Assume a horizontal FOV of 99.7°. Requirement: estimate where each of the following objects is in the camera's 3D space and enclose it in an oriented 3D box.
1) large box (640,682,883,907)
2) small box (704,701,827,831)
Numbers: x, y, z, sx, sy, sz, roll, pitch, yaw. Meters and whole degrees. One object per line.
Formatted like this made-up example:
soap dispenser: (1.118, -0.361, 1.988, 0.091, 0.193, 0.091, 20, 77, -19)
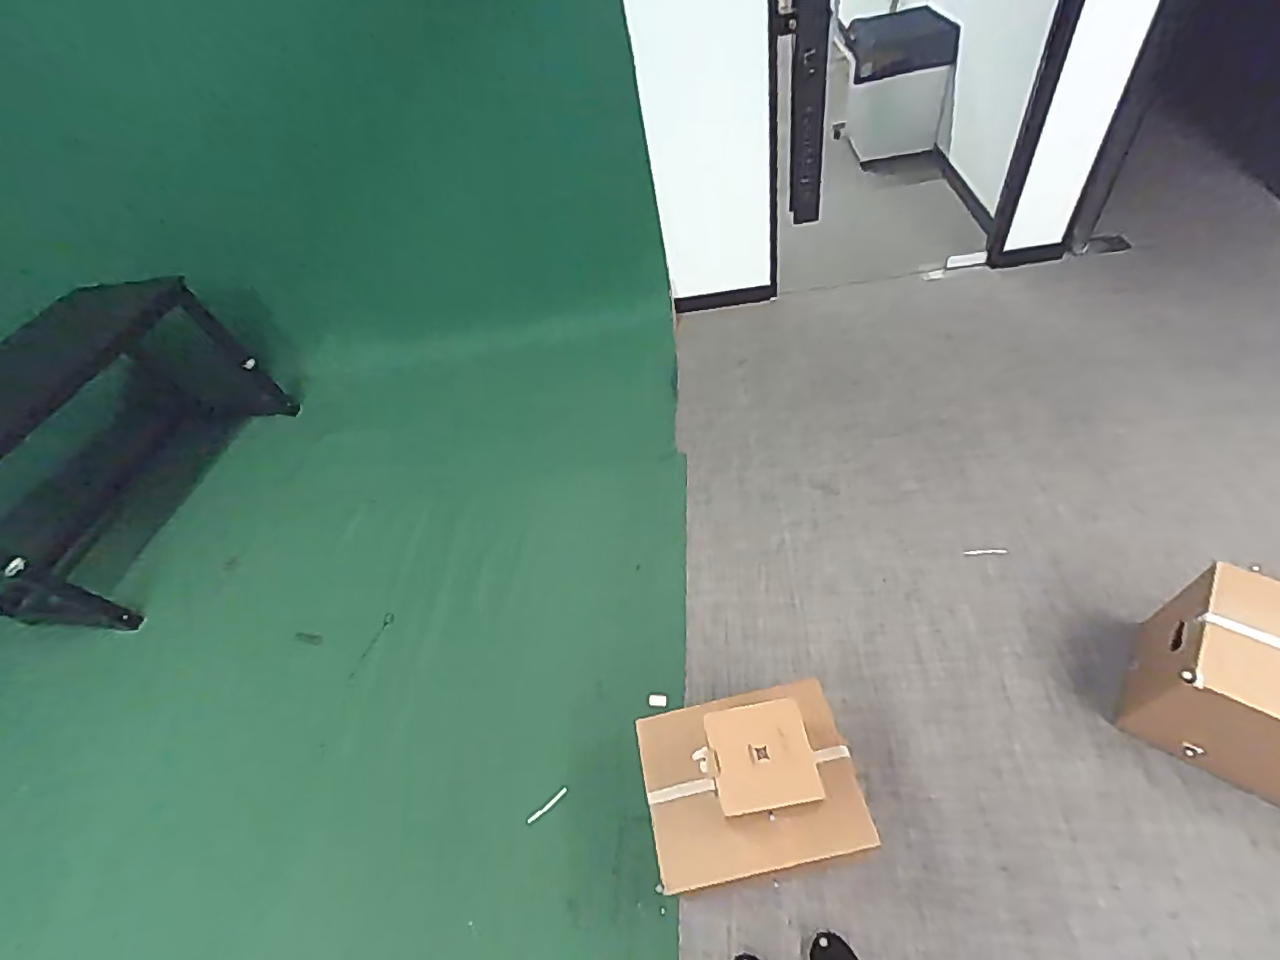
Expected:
large box: (0.247, 0.686, 1.170, 0.408, 0.320, 0.320, -16, 48, 3)
small box: (0.225, 0.524, 0.984, 0.179, 0.176, 0.168, -12, 51, 4)
